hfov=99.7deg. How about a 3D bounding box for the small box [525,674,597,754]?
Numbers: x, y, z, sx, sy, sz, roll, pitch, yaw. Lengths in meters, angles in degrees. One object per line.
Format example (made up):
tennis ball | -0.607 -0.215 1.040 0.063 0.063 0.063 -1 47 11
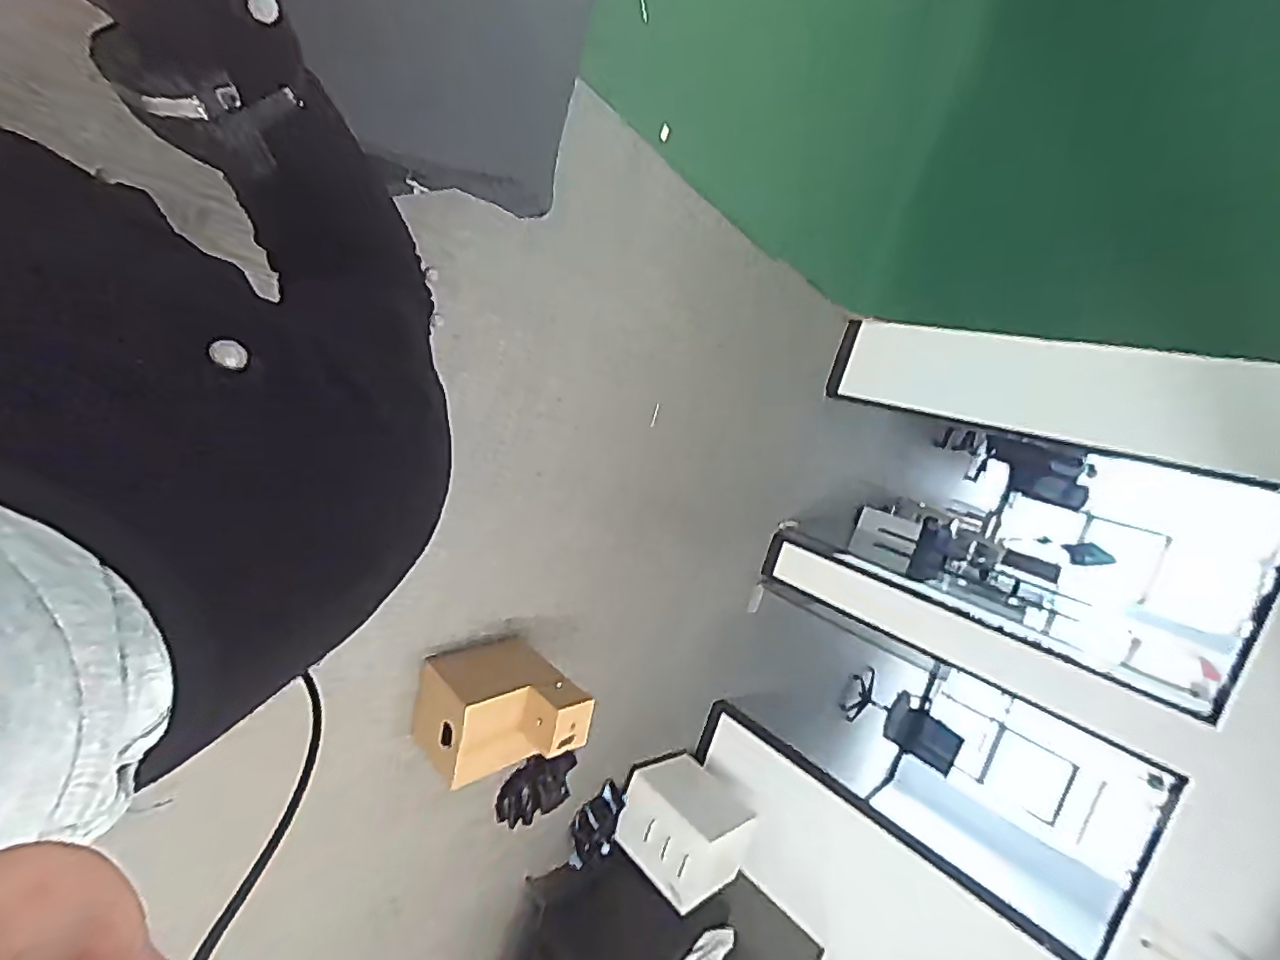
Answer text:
small box | -0.278 0.805 1.880 0.168 0.176 0.179 4 99 -49
